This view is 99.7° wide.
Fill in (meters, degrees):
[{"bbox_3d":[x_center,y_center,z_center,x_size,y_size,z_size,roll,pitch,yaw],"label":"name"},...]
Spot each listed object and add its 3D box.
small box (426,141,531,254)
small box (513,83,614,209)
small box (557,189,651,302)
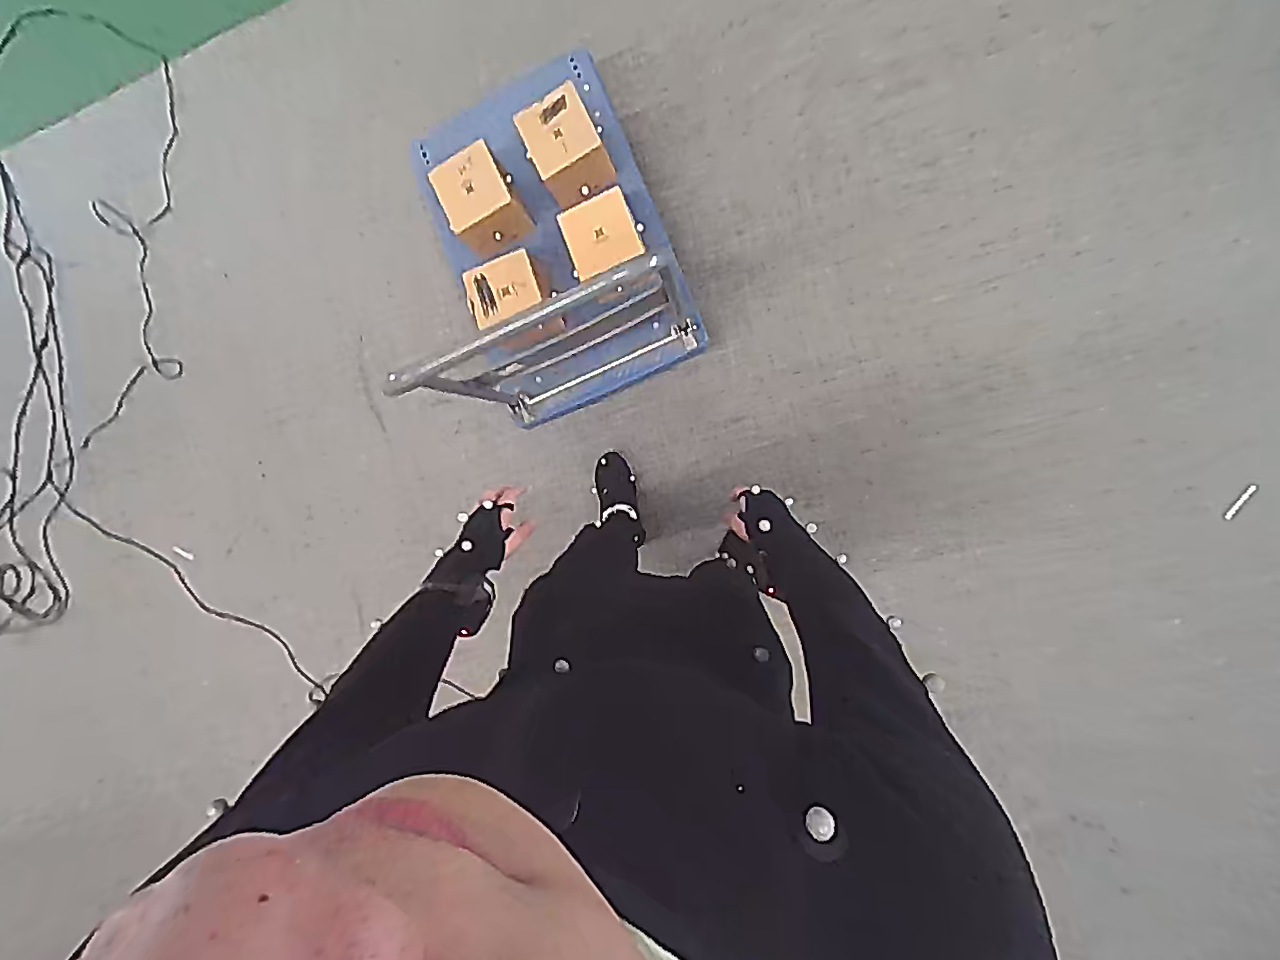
[{"bbox_3d":[-0.408,-0.713,1.395,0.168,0.176,0.179,-26,88,9],"label":"small box"},{"bbox_3d":[-0.185,-0.823,1.352,0.168,0.176,0.179,-26,88,11],"label":"small box"},{"bbox_3d":[-0.083,-0.573,1.344,0.168,0.176,0.179,-21,89,10],"label":"small box"}]
